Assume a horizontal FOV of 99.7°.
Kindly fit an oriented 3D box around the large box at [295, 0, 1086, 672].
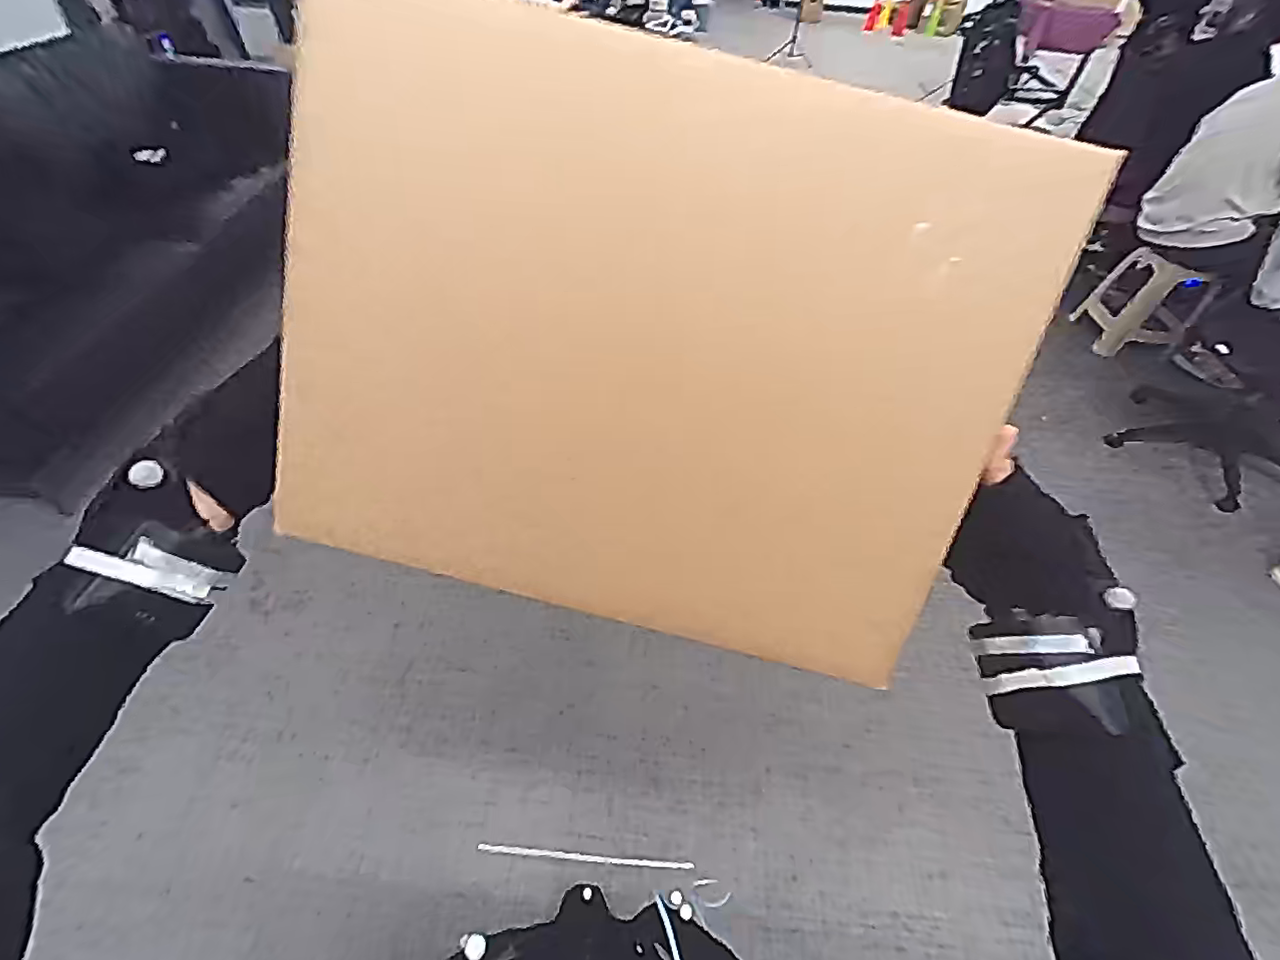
[{"bbox_3d":[0.009,-0.096,0.454,0.408,0.320,0.320,15,17,0],"label":"large box"}]
